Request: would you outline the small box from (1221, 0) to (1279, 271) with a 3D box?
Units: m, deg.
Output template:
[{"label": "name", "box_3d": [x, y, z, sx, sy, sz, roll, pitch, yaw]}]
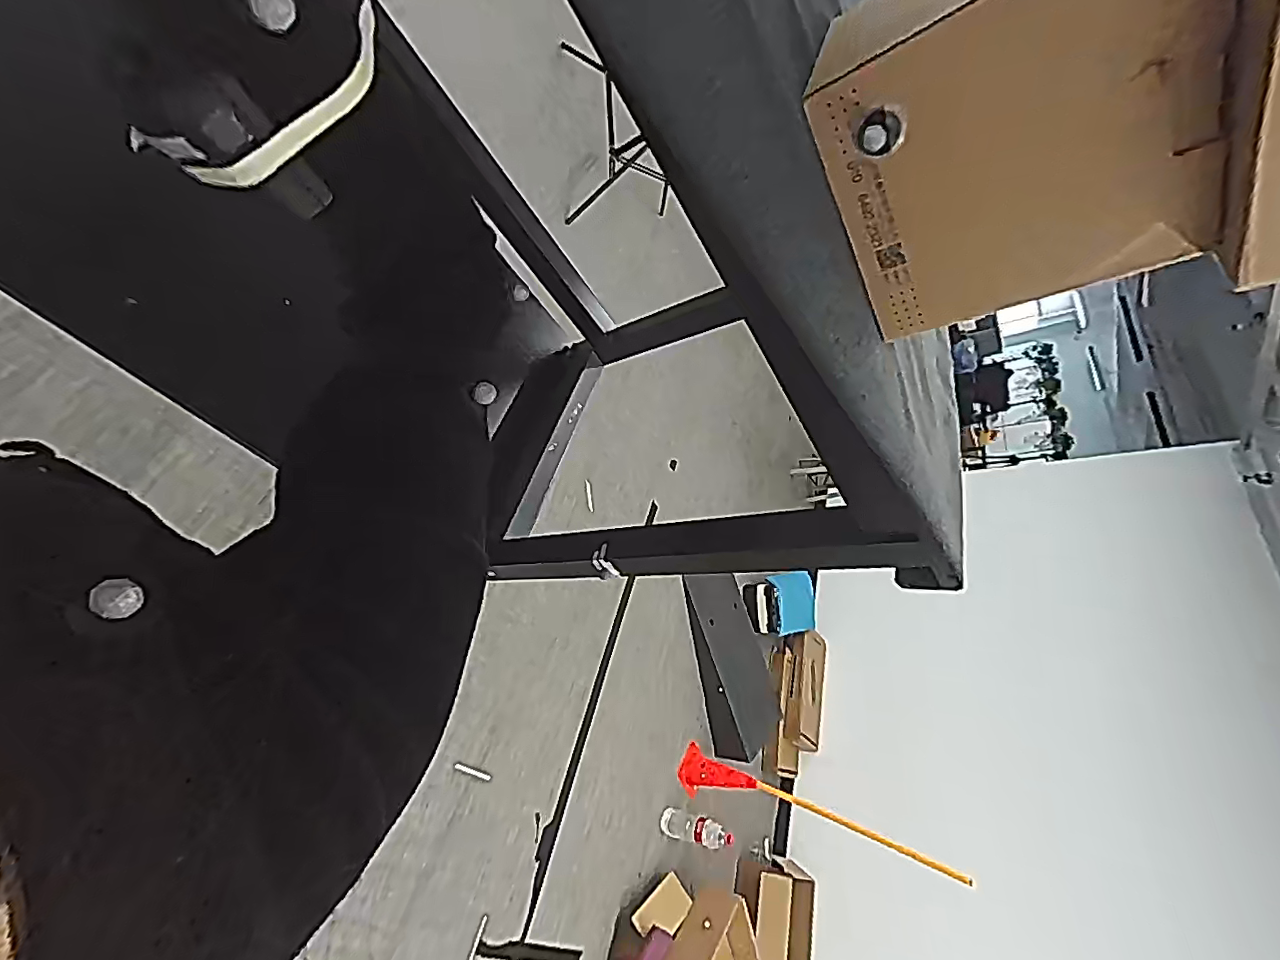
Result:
[{"label": "small box", "box_3d": [0.346, -0.222, 0.224, 0.168, 0.176, 0.179, 47, 47, -39]}]

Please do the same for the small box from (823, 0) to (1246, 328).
[{"label": "small box", "box_3d": [0.225, -0.224, 0.337, 0.168, 0.176, 0.179, 51, 43, -34]}]
